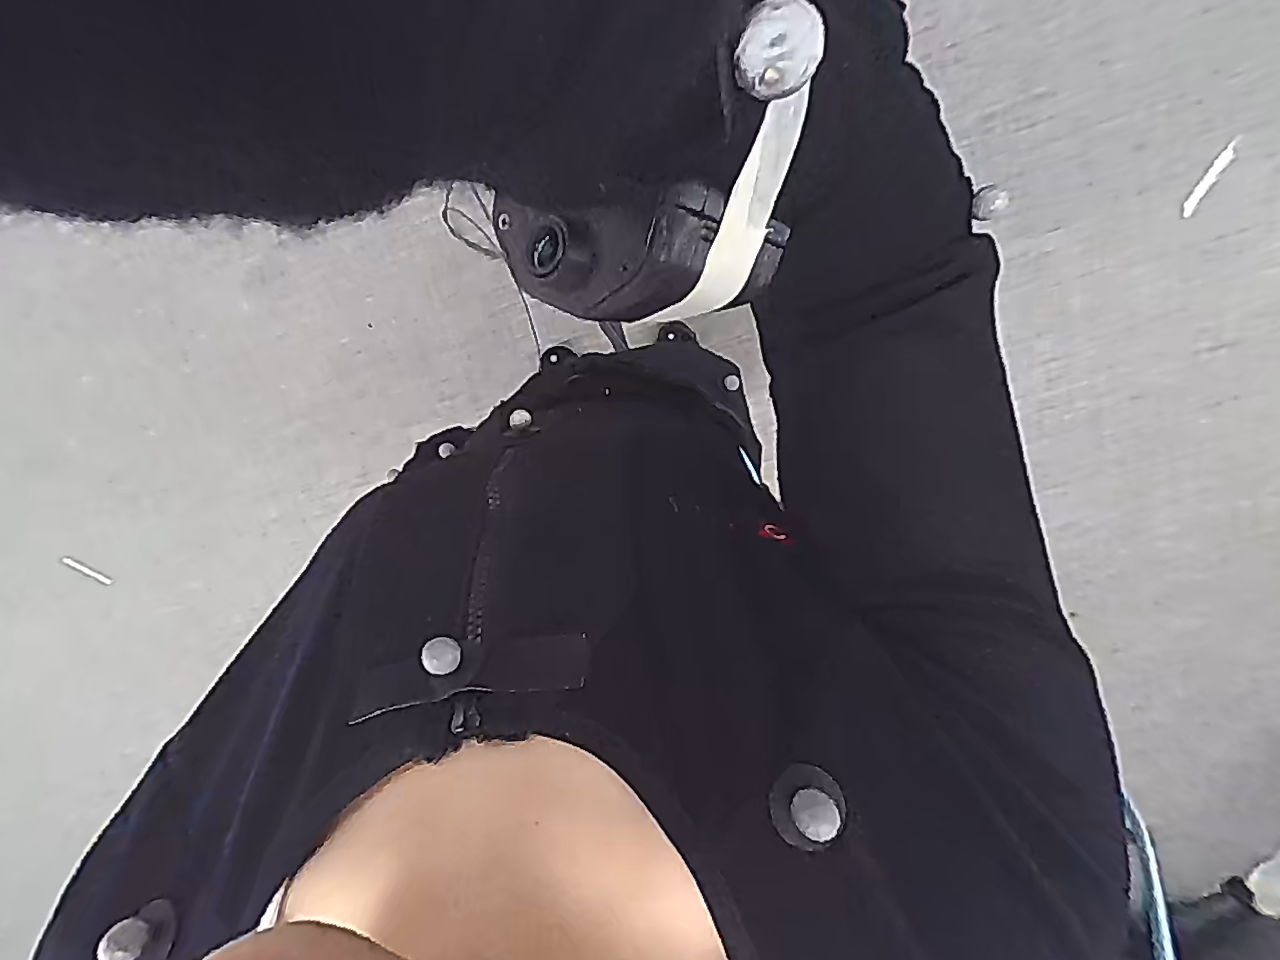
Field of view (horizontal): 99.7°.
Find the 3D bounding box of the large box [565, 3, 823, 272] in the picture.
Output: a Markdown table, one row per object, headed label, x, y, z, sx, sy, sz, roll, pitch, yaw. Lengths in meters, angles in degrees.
| label | x | y | z | sx | sy | sz | roll | pitch | yaw |
| --- | --- | --- | --- | --- | --- | --- | --- | --- | --- |
| large box | 0.099 | -0.620 | 1.057 | 0.408 | 0.320 | 0.320 | -9 | 105 | 4 |
